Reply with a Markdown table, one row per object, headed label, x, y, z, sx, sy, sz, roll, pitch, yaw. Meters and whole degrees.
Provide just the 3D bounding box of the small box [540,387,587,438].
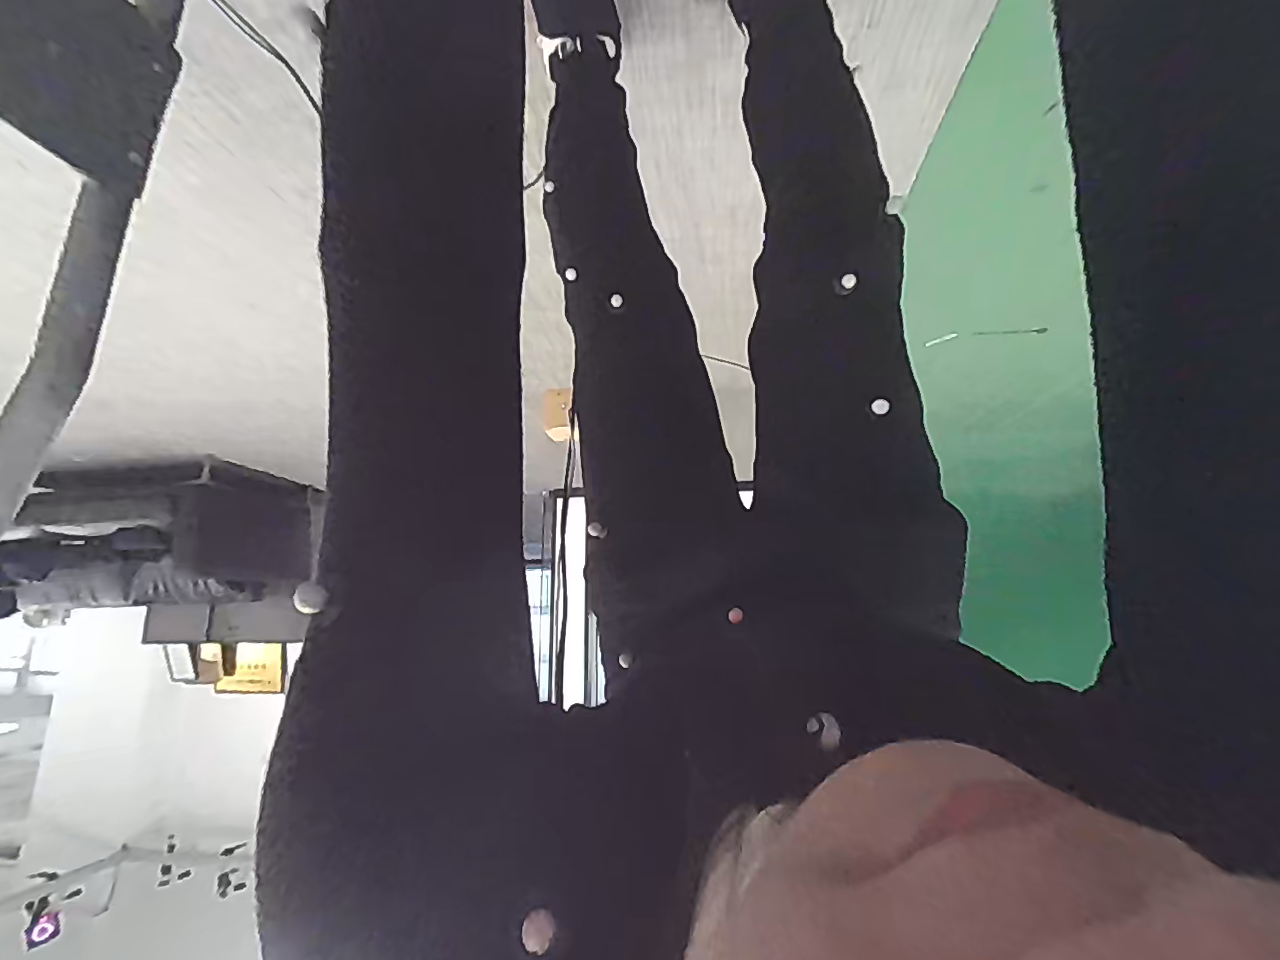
| label | x | y | z | sx | sy | sz | roll | pitch | yaw |
| --- | --- | --- | --- | --- | --- | --- | --- | --- | --- |
| small box | -0.315 | -0.282 | 2.249 | 0.168 | 0.176 | 0.179 | -1 | 167 | 4 |
